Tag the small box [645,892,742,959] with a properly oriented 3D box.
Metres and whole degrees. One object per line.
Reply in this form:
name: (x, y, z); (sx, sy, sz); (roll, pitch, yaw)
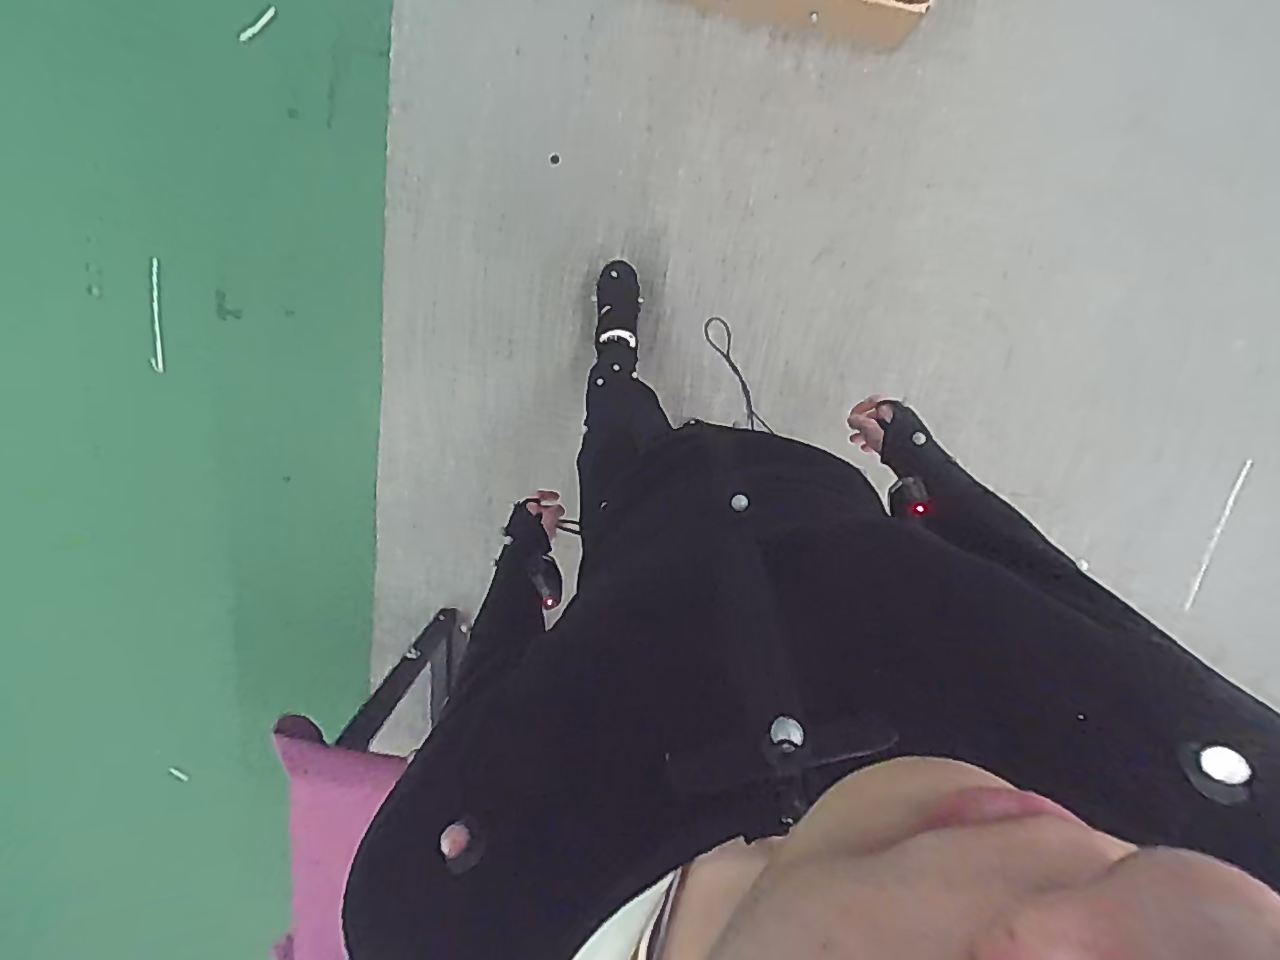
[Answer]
small box: (0.096, 0.912, 0.993); (0.168, 0.176, 0.179); (6, 103, 0)
